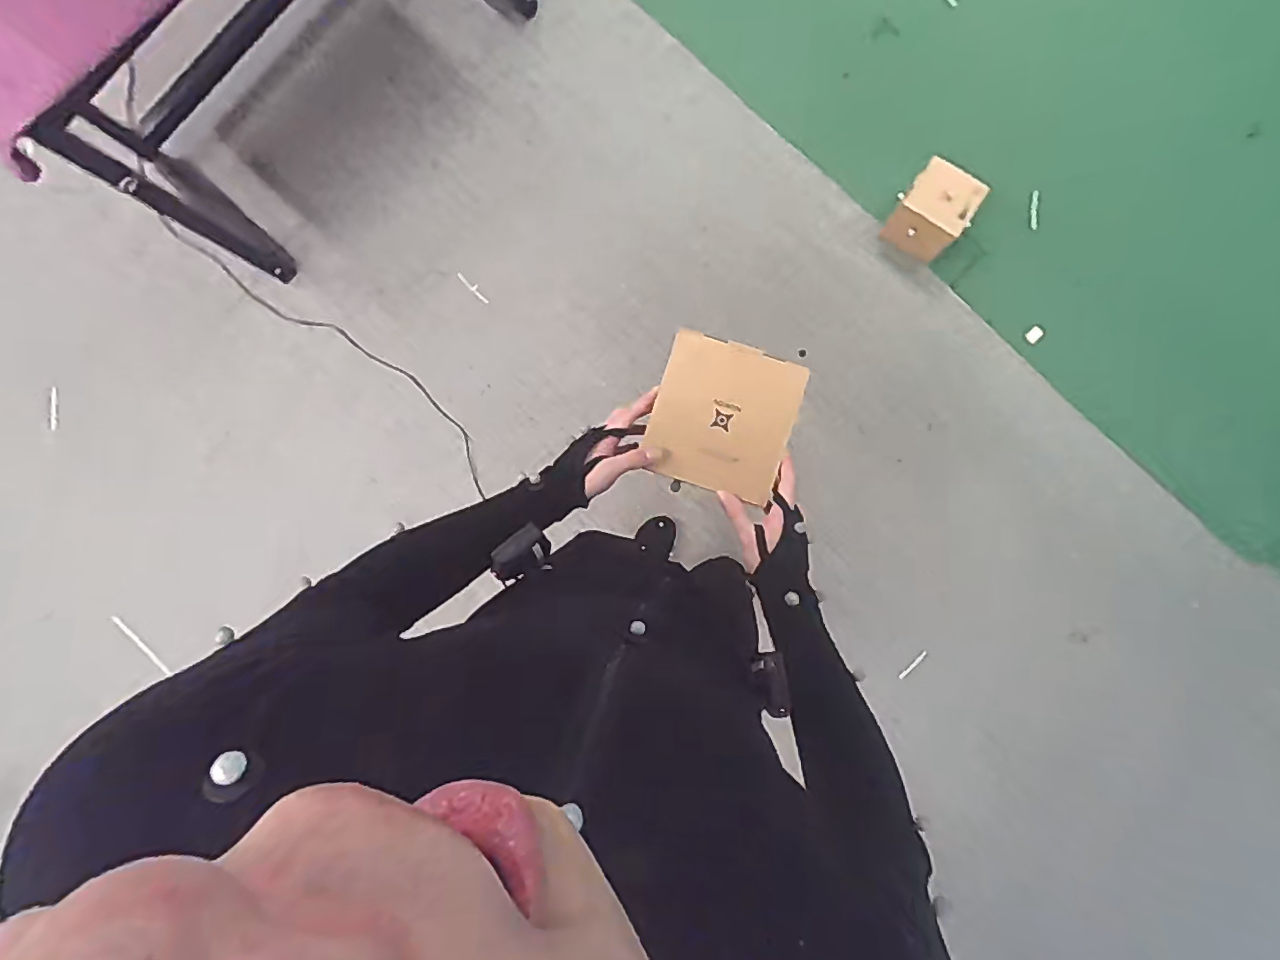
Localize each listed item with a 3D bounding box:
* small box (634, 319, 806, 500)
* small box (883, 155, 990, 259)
[{"bbox_3d":[0.092,-0.084,0.712,0.168,0.176,0.179,18,91,0],"label":"small box"},{"bbox_3d":[0.829,-0.764,1.536,0.179,0.176,0.168,34,90,3],"label":"small box"}]
